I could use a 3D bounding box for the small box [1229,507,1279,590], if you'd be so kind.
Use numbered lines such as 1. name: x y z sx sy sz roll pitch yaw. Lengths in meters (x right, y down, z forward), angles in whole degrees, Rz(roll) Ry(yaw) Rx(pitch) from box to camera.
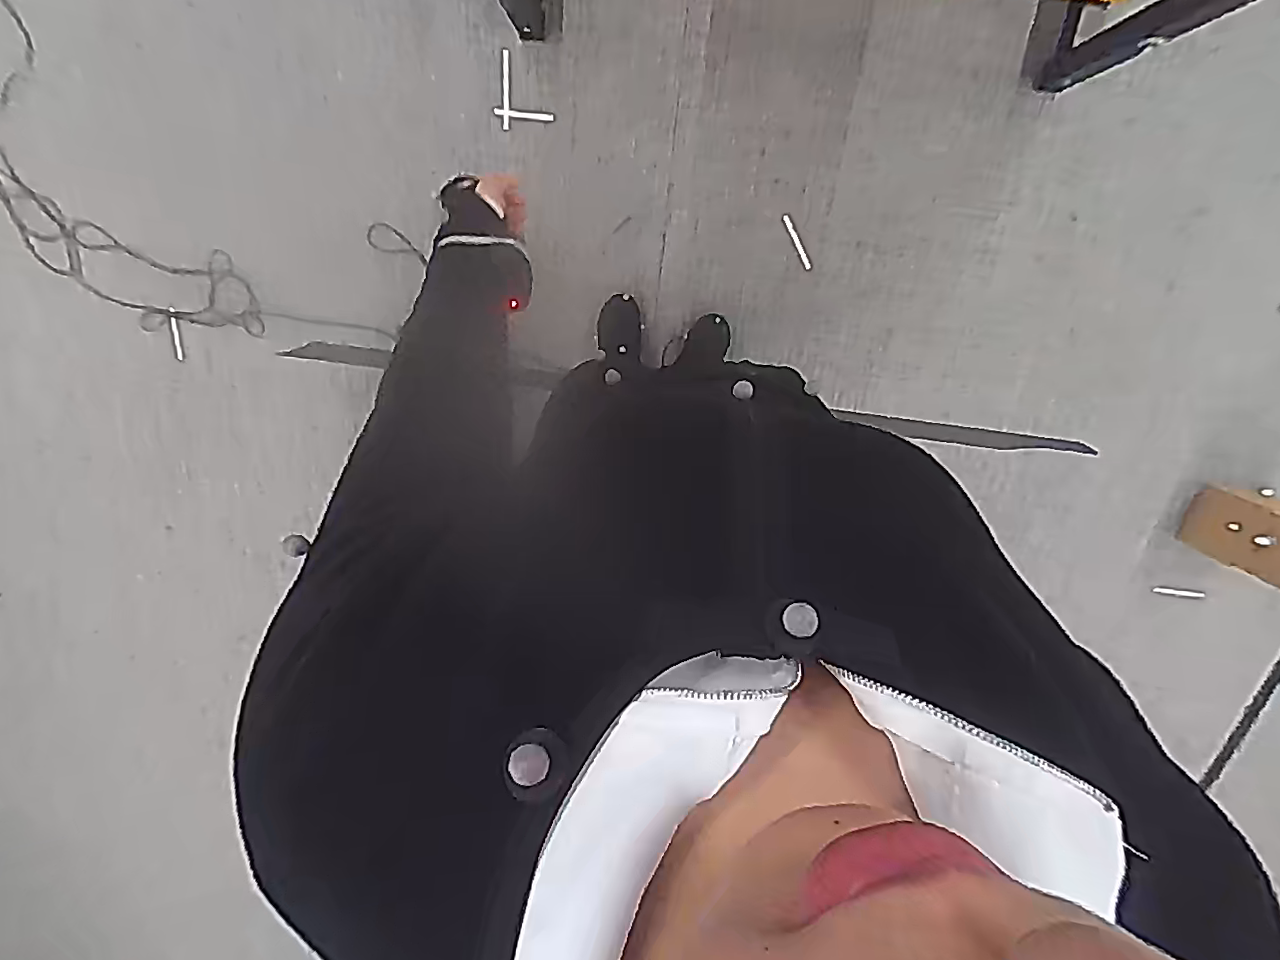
1. small box: 1.607 0.175 1.296 0.179 0.176 0.168 5 110 2

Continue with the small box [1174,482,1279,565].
1. small box: 1.611 0.121 1.449 0.168 0.176 0.179 9 112 -1
